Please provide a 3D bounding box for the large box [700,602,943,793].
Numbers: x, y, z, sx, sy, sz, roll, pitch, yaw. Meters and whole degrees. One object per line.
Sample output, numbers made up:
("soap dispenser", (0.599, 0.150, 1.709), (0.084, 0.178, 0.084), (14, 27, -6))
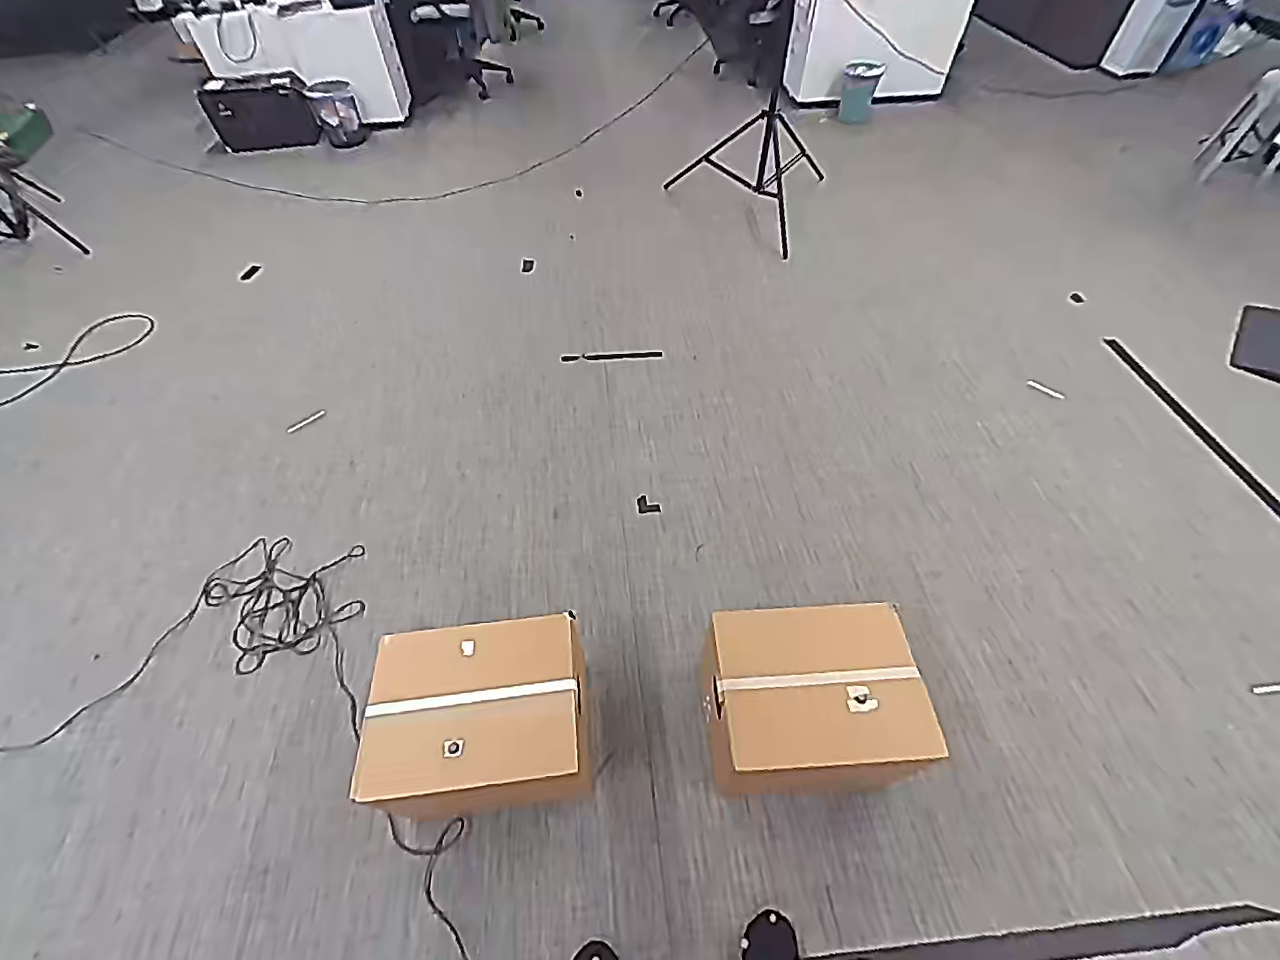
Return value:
("large box", (0.365, 0.493, 1.216), (0.408, 0.320, 0.320), (-2, 53, -2))
